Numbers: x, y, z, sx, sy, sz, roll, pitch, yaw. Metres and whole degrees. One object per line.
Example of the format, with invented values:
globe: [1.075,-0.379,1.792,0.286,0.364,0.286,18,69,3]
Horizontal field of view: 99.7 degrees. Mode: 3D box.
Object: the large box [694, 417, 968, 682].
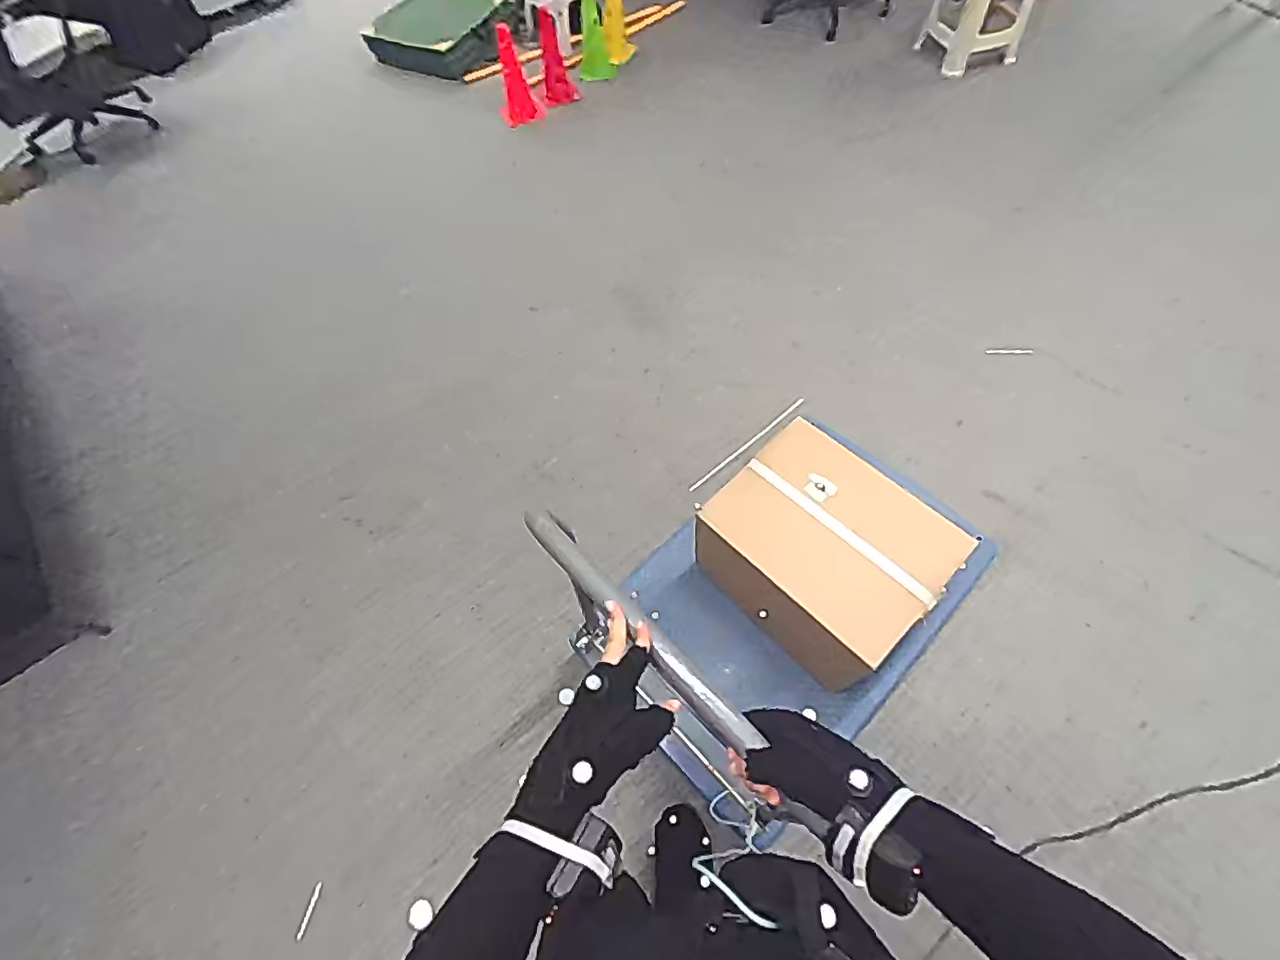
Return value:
large box: [0.367,0.151,1.141,0.320,0.320,0.408,-41,64,-16]
